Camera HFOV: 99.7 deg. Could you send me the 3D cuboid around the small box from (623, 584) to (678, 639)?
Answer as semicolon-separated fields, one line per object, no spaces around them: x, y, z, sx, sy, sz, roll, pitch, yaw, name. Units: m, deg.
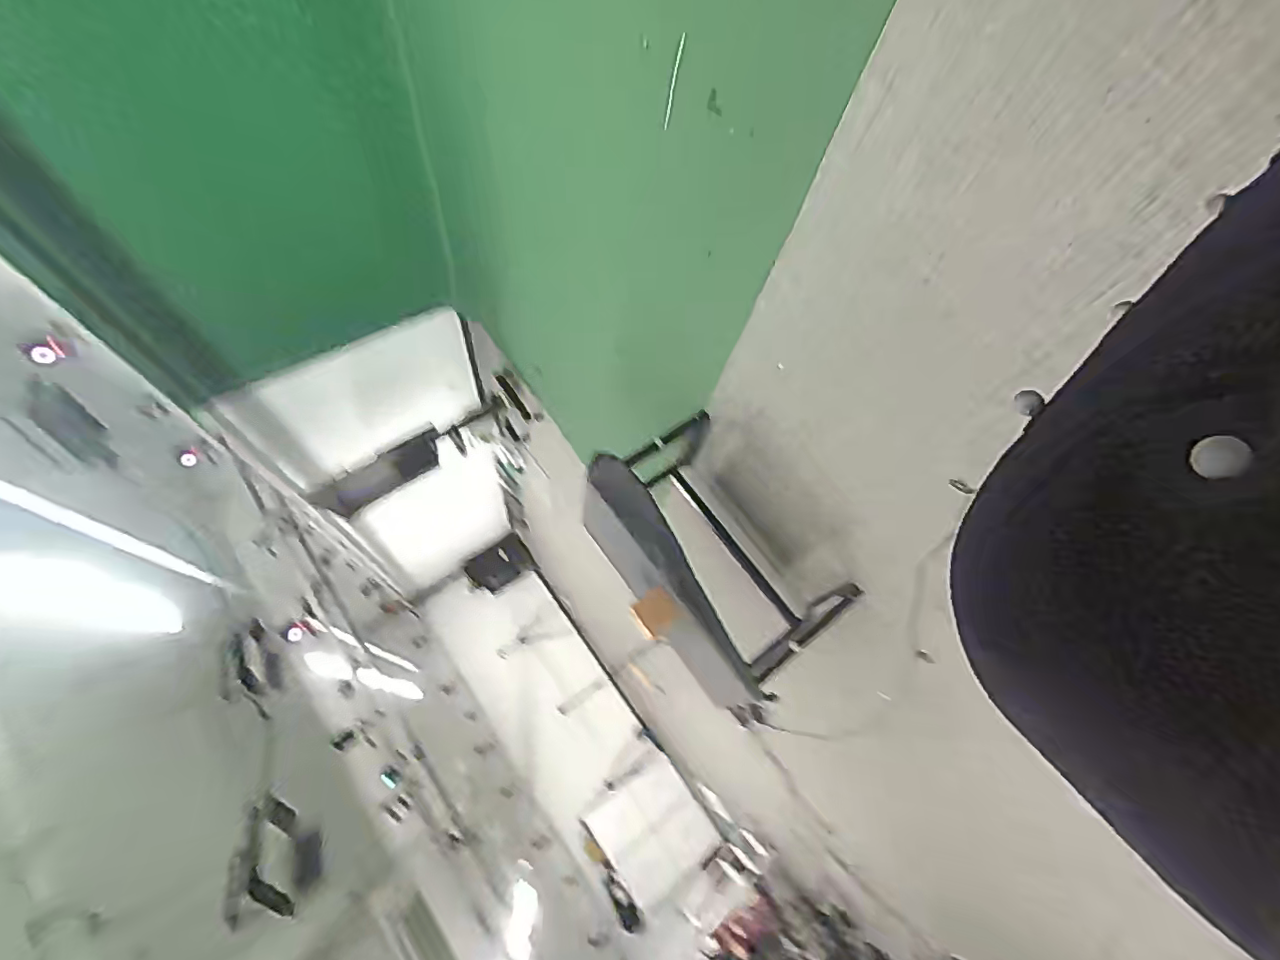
0.048;0.596;2.470;0.179;0.176;0.168;51;159;15;small box
